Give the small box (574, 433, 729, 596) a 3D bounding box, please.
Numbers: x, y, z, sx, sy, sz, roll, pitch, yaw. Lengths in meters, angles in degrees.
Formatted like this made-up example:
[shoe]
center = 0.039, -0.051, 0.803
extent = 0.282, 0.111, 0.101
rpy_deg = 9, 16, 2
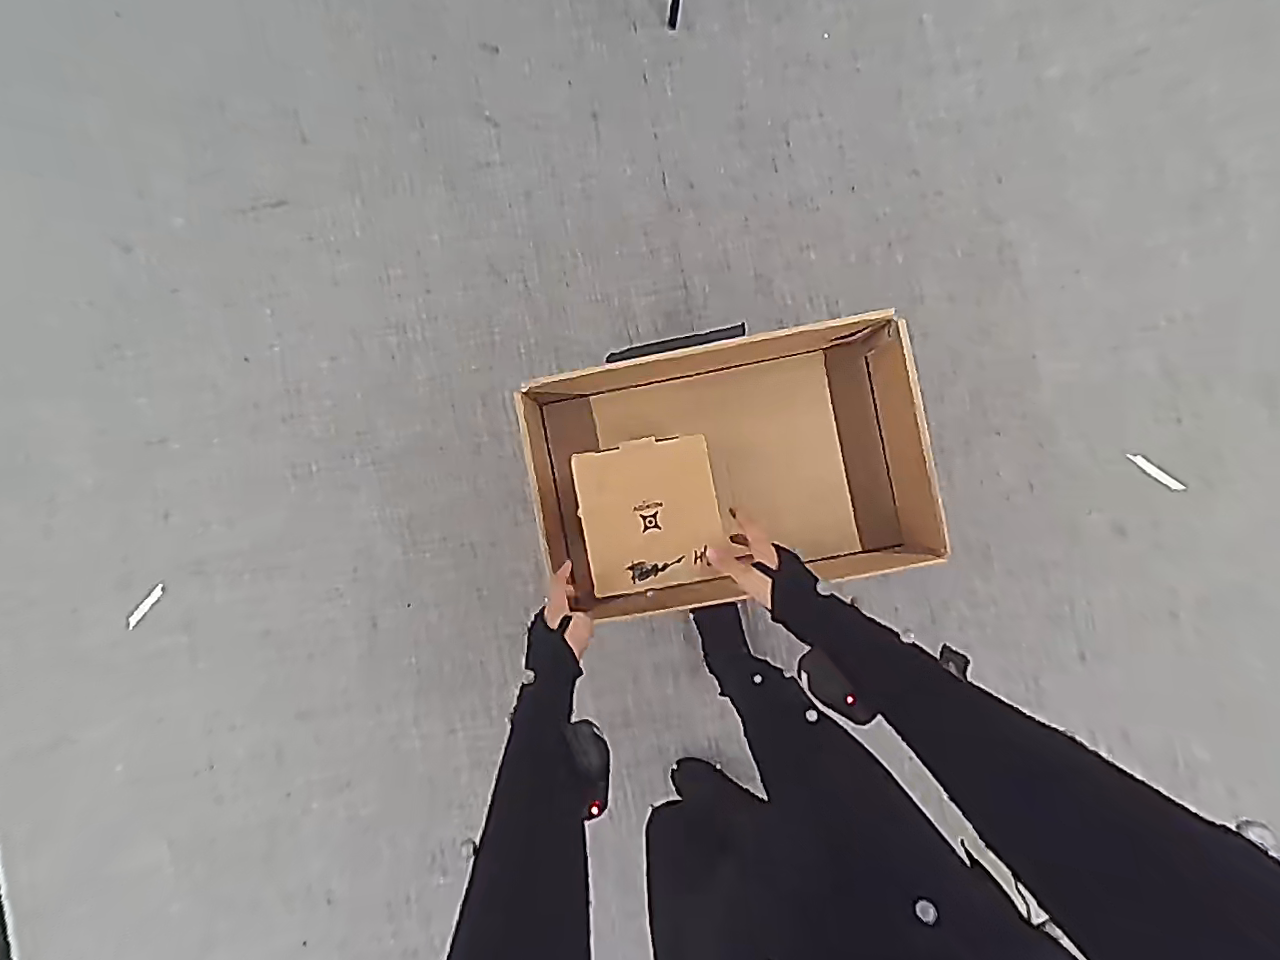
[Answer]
[small box]
center = 0.014, 0.046, 0.727
extent = 0.168, 0.176, 0.179
rpy_deg = -10, 87, 1
